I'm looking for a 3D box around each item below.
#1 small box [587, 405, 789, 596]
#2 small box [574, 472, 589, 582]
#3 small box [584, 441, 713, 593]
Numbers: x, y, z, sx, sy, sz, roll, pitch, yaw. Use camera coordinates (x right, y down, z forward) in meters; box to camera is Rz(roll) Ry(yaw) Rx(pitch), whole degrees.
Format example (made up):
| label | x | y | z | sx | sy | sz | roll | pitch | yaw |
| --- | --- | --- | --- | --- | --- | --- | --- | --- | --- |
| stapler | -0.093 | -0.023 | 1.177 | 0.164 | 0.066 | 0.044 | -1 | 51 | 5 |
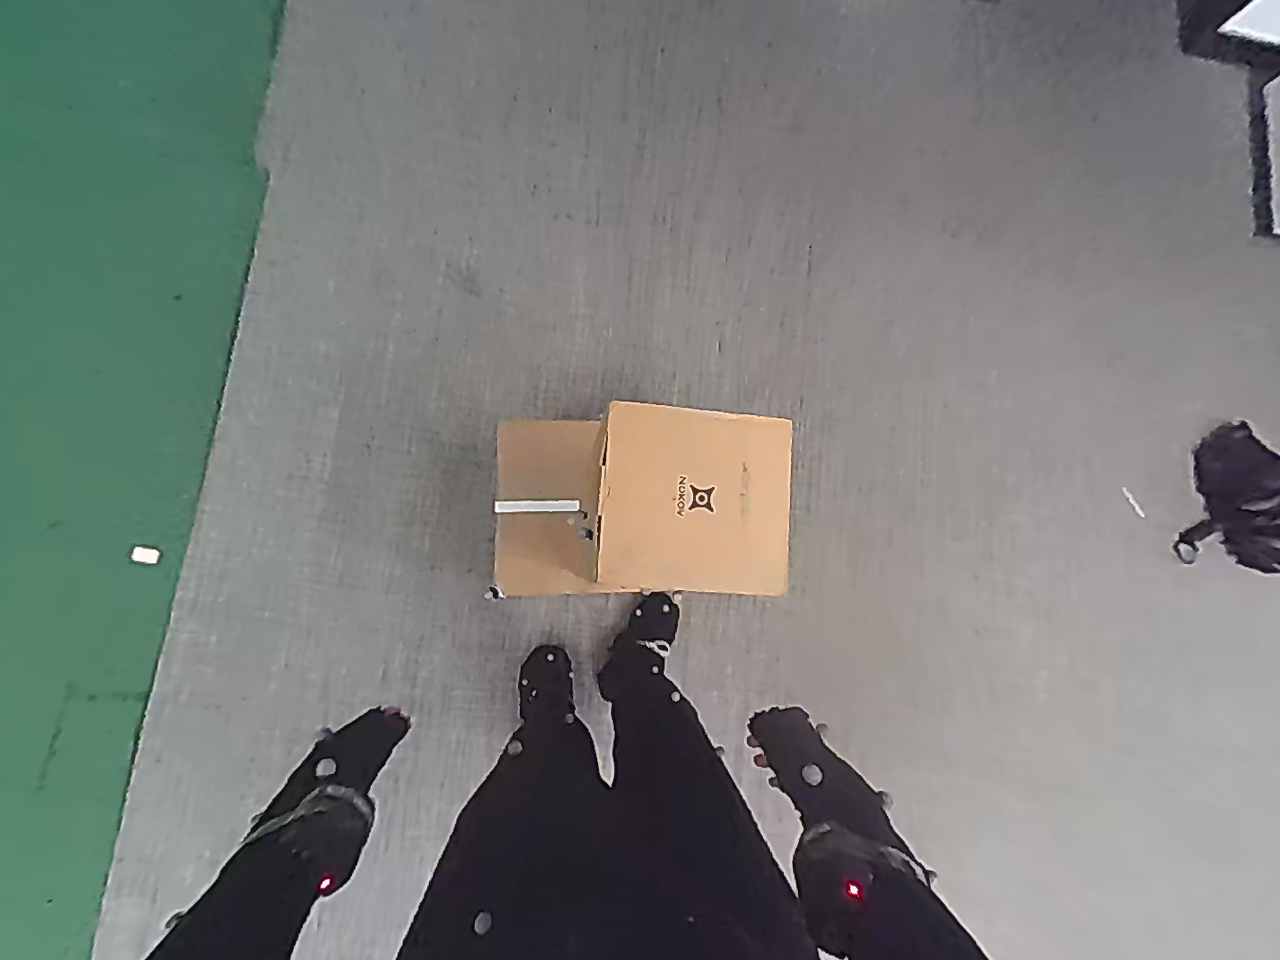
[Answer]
| label | x | y | z | sx | sy | sz | roll | pitch | yaw |
| --- | --- | --- | --- | --- | --- | --- | --- | --- | --- |
| small box | 0.039 | 0.029 | 0.565 | 0.179 | 0.176 | 0.168 | 4 | 82 | -9 |
| small box | -0.013 | 0.084 | 0.882 | 0.179 | 0.176 | 0.168 | 5 | 81 | -7 |
| small box | 0.013 | 0.054 | 0.724 | 0.168 | 0.176 | 0.179 | 4 | 82 | -8 |
